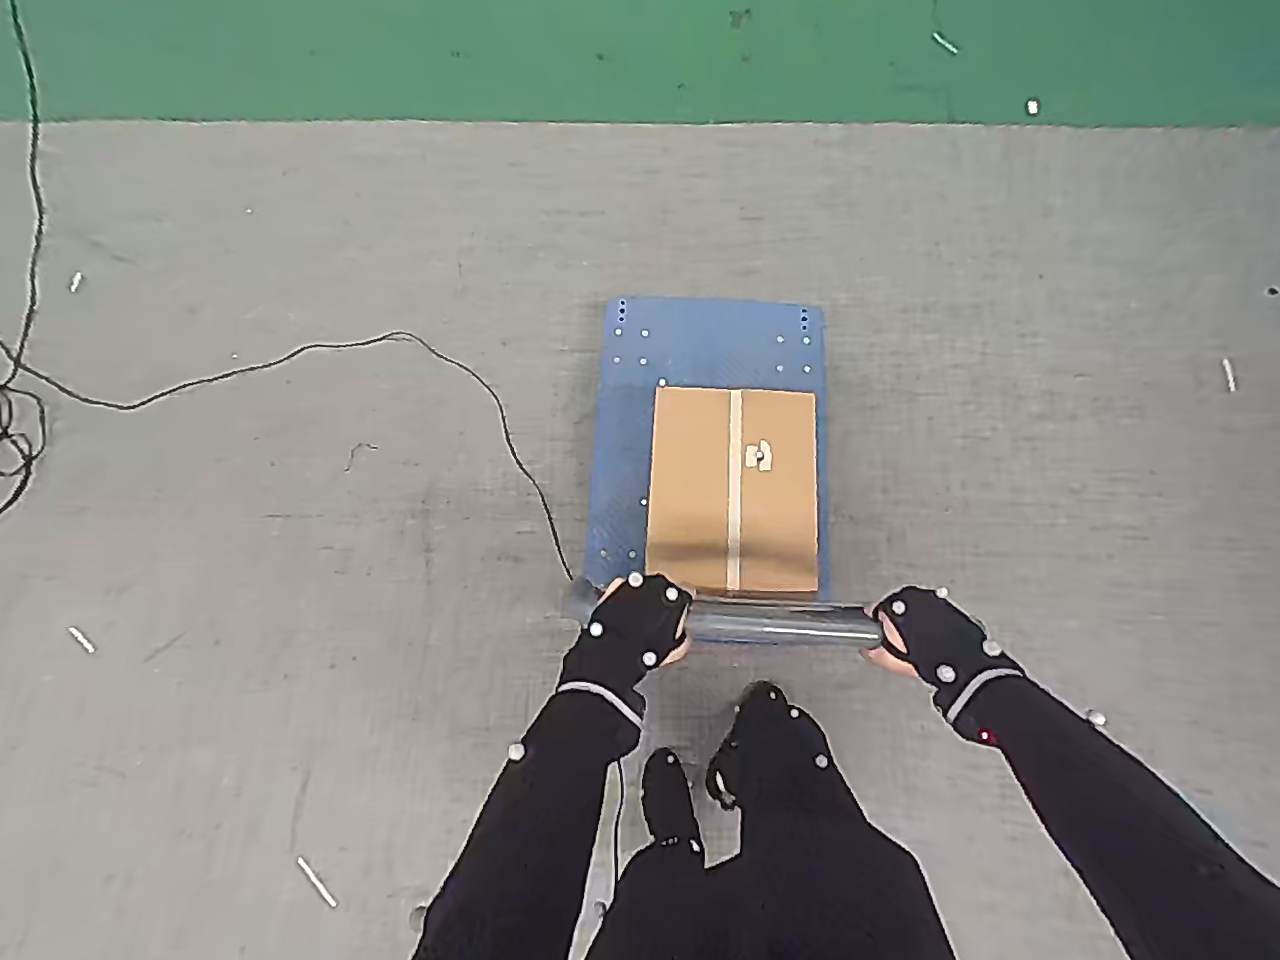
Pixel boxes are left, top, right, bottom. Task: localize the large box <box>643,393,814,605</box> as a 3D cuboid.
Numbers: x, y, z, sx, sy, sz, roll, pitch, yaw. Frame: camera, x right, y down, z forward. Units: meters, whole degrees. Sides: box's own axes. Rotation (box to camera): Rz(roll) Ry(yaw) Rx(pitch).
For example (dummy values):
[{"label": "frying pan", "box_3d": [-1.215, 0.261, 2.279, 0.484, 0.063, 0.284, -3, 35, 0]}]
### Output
[{"label": "large box", "box_3d": [0.170, 0.061, 1.165, 0.320, 0.320, 0.408, 3, 77, 1]}]
